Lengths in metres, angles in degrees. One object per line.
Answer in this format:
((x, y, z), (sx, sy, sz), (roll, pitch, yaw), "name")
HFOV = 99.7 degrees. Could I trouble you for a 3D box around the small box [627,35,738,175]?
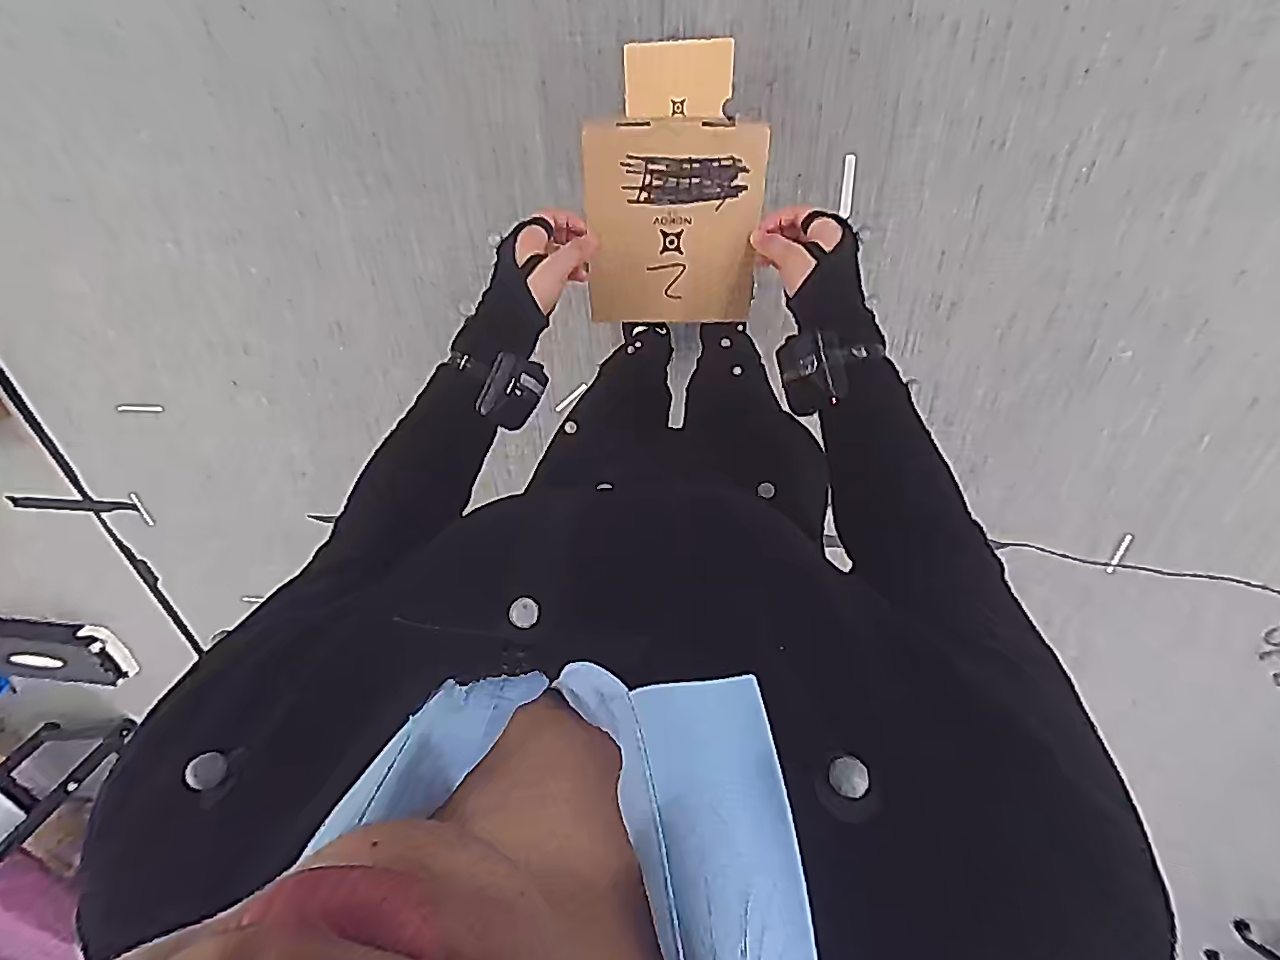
((0.069, -0.612, 0.899), (0.168, 0.176, 0.179), (2, 123, 6), "small box")
